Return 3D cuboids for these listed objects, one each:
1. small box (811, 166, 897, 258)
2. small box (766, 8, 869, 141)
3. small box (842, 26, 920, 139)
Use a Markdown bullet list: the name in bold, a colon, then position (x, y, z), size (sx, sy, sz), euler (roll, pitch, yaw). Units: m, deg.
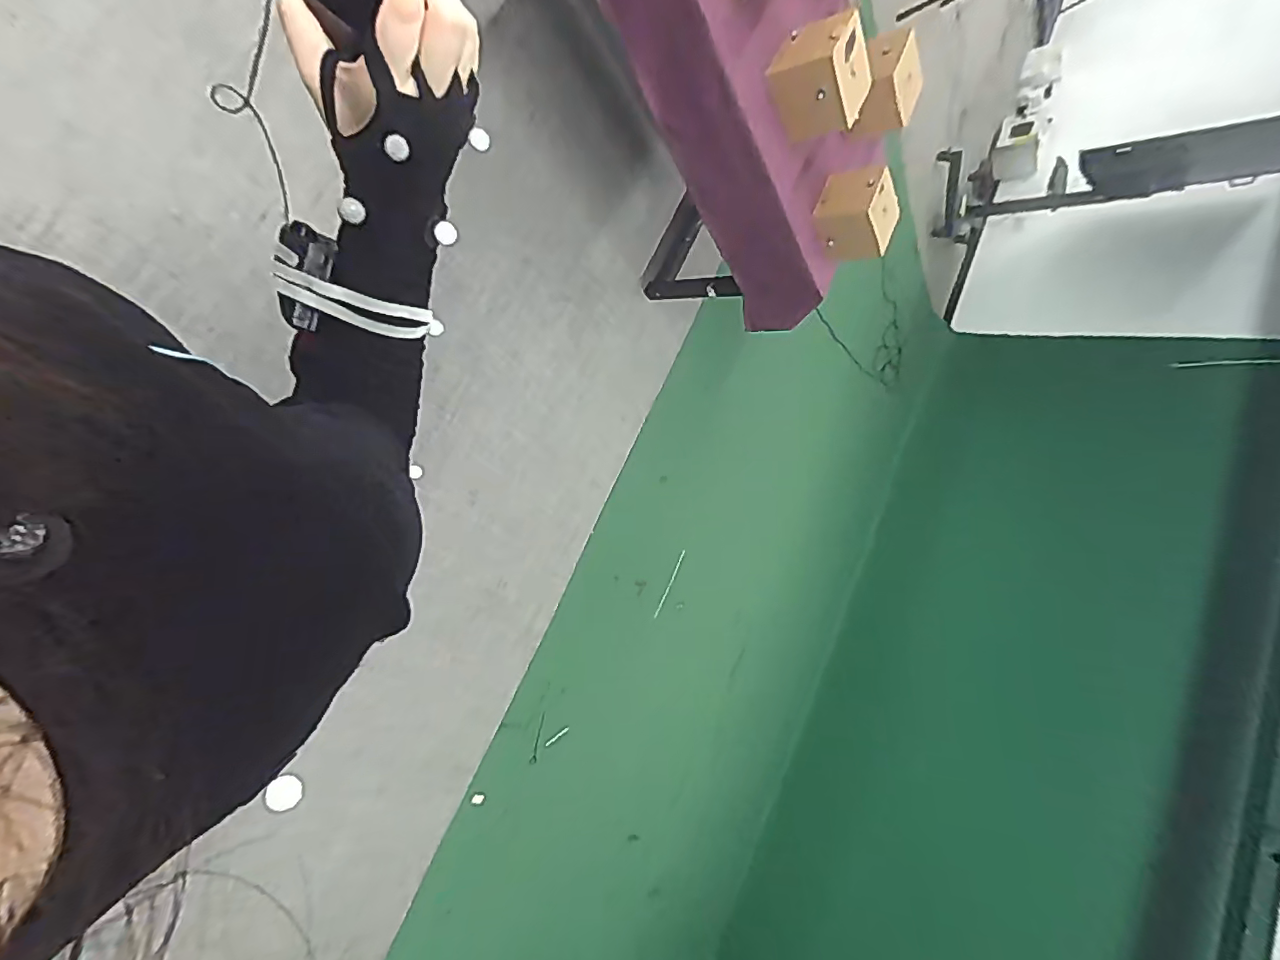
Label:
- **small box**: position (0.623, -0.770, 1.573), size (0.179, 0.176, 0.168), euler (38, 72, -47)
- **small box**: position (0.424, -0.958, 1.295), size (0.179, 0.176, 0.168), euler (44, 68, -46)
- **small box**: position (0.665, -1.110, 1.523), size (0.168, 0.176, 0.179), euler (35, 75, -47)
